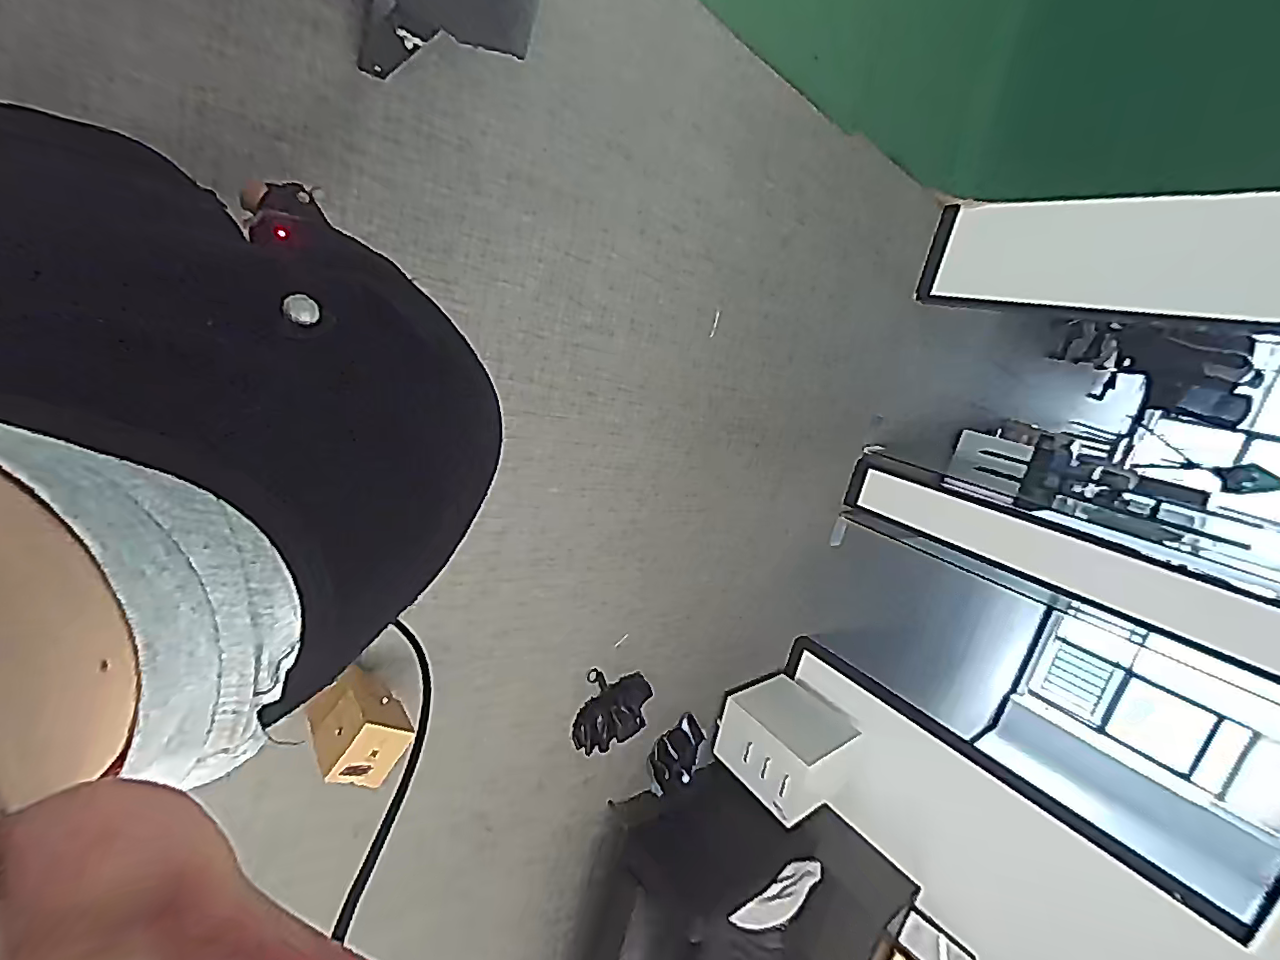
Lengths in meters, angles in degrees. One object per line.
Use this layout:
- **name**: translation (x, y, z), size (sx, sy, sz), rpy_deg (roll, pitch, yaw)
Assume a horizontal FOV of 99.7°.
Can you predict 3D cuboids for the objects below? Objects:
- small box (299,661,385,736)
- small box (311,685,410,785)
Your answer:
- **small box**: translation (-0.887, 0.680, 1.632), size (0.168, 0.176, 0.179), rpy_deg (-45, 131, -17)
- **small box**: translation (-0.783, 0.708, 1.505), size (0.179, 0.176, 0.168), rpy_deg (-55, 135, -9)
